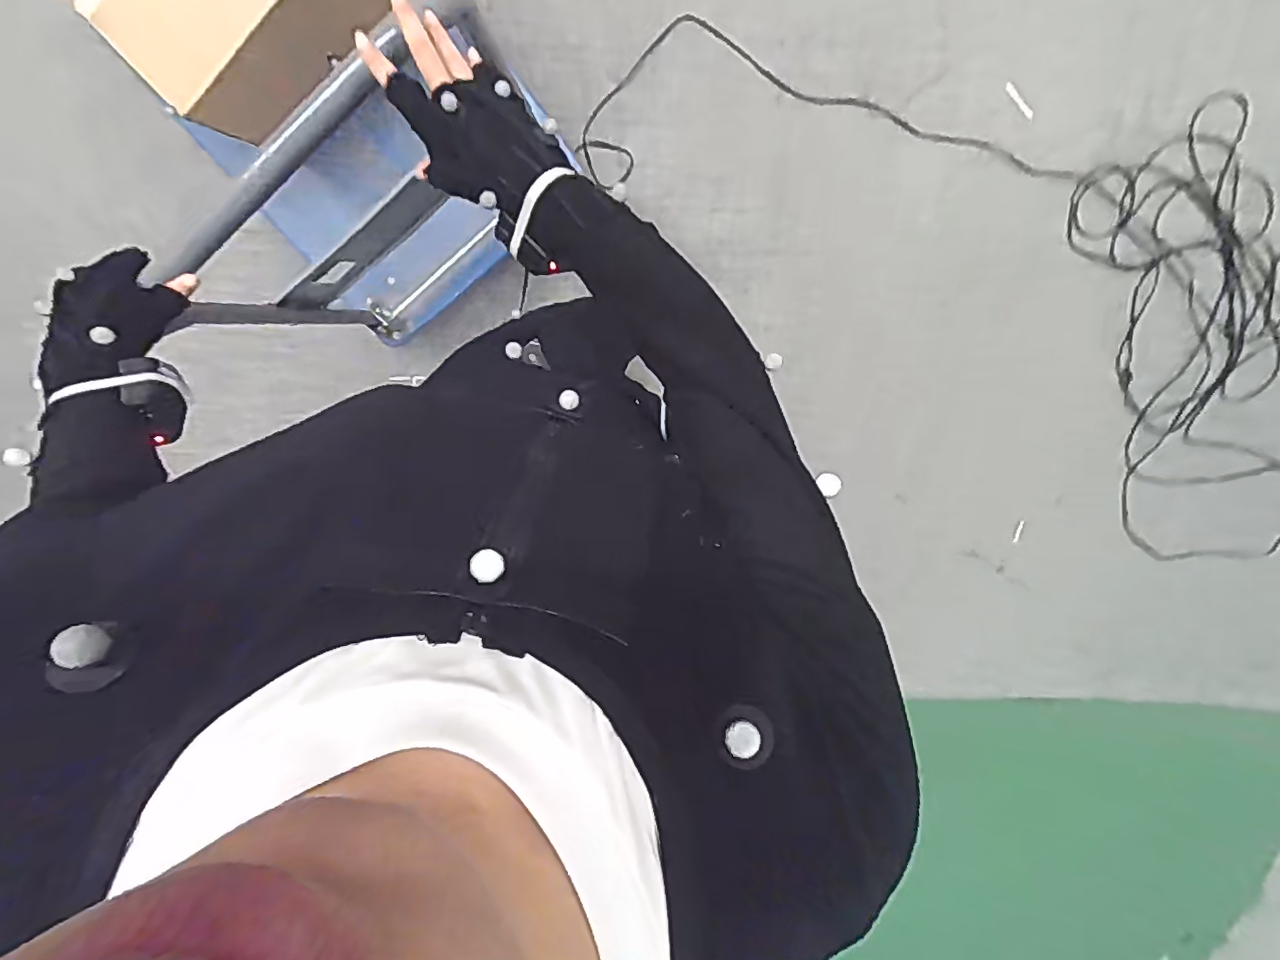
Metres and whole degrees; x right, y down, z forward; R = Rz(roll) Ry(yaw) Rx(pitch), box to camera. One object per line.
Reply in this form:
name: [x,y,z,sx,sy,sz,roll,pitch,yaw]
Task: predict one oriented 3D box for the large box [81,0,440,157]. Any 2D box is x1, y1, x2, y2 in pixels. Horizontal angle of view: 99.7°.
large box: [-0.606,-0.816,0.861,0.408,0.320,0.320,-38,105,13]
